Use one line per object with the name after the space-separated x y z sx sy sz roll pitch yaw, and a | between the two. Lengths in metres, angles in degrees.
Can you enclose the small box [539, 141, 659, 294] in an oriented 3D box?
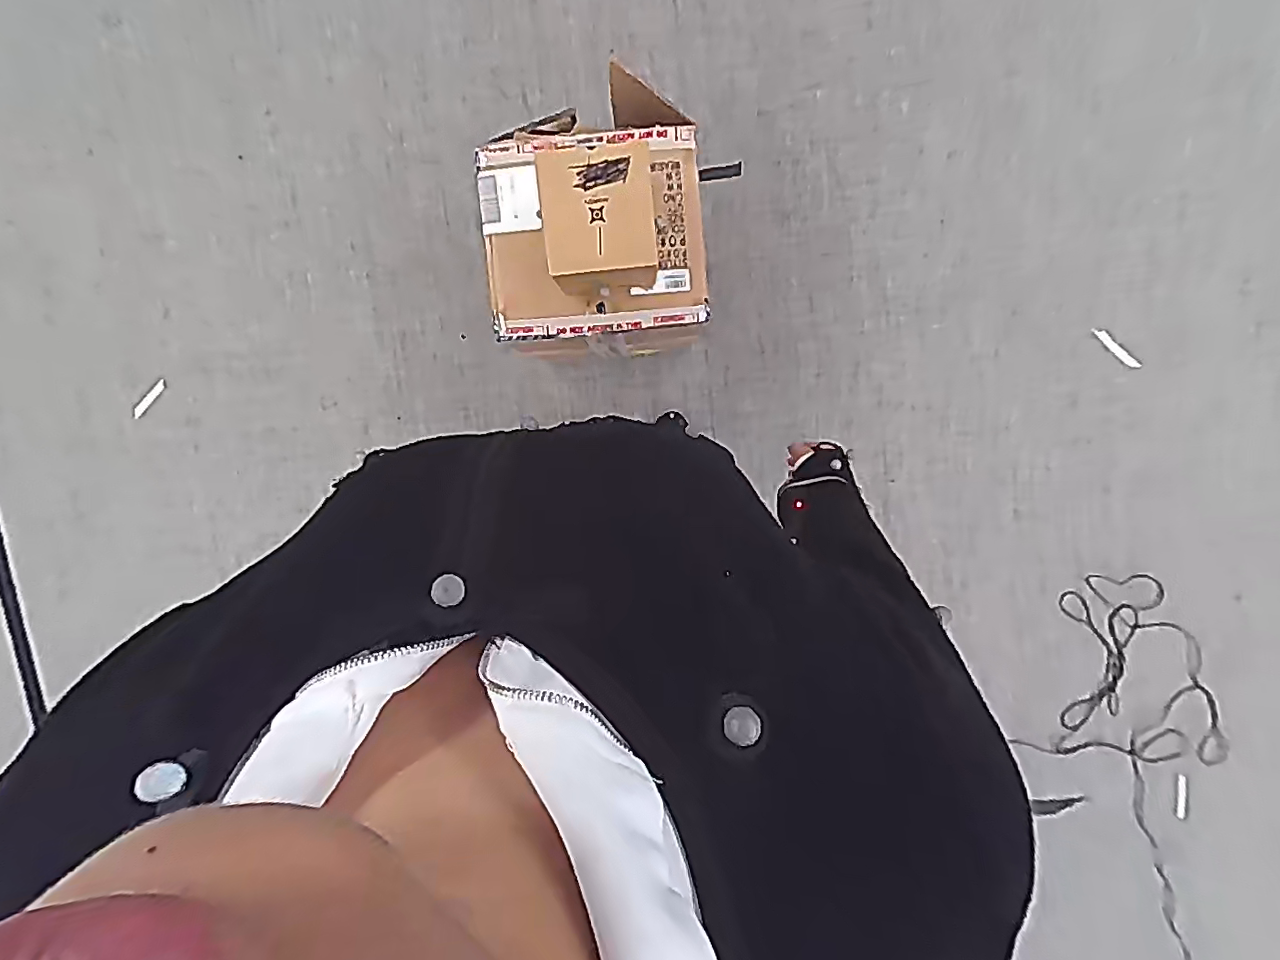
-0.060 -0.410 0.870 0.168 0.176 0.179 -5 100 1 | small box
